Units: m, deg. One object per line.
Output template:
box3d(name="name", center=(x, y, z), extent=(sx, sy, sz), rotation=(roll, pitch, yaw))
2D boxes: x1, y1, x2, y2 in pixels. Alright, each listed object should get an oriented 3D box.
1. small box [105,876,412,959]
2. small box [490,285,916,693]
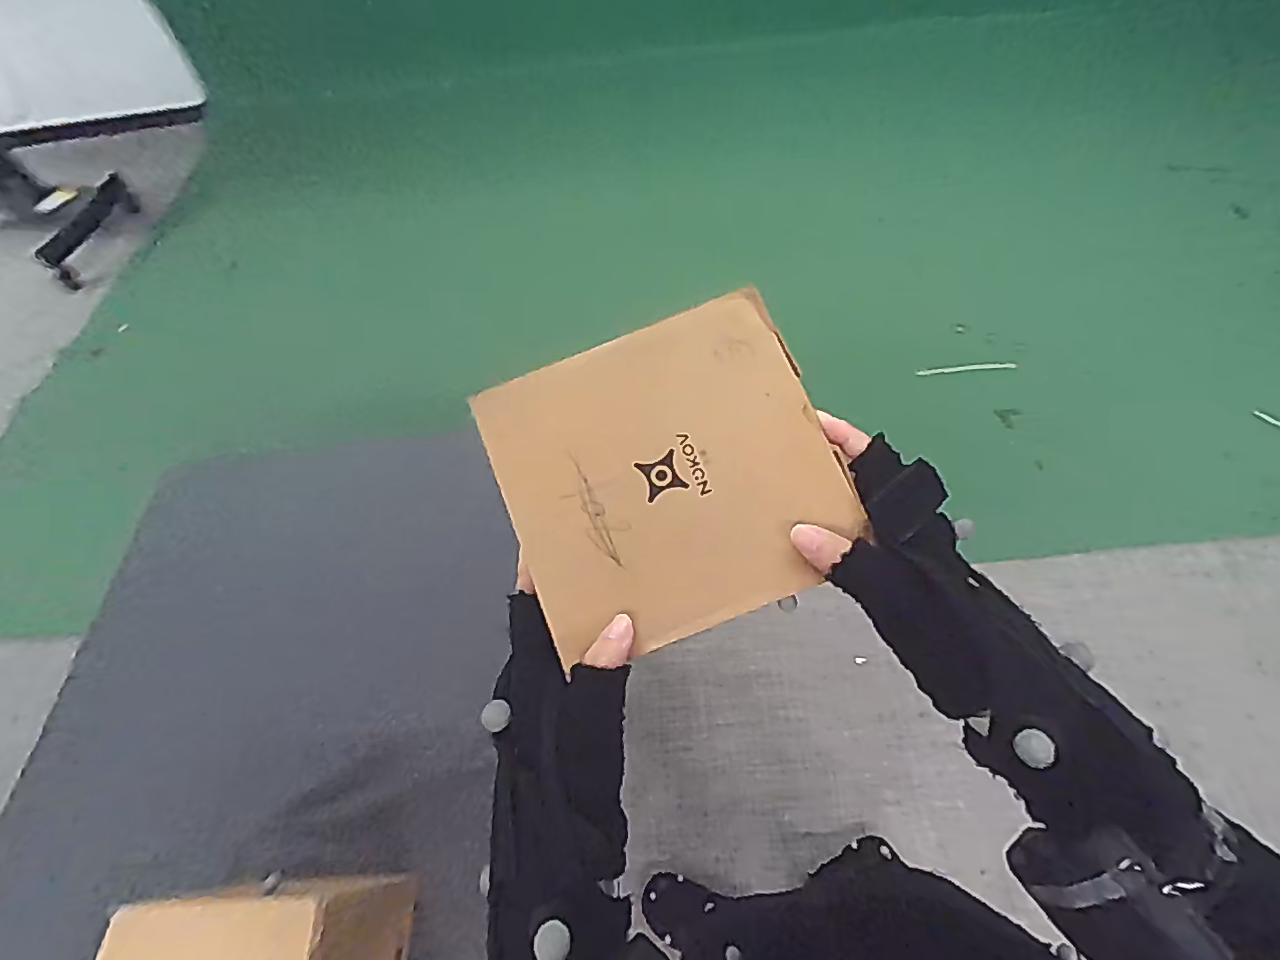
box3d(name="small box", center=(-0.320, 0.448, 0.459), extent=(0.179, 0.176, 0.168), rotation=(-6, 58, 4))
box3d(name="small box", center=(0.031, 0.013, 0.358), extent=(0.179, 0.176, 0.168), rotation=(-25, 78, -2))
